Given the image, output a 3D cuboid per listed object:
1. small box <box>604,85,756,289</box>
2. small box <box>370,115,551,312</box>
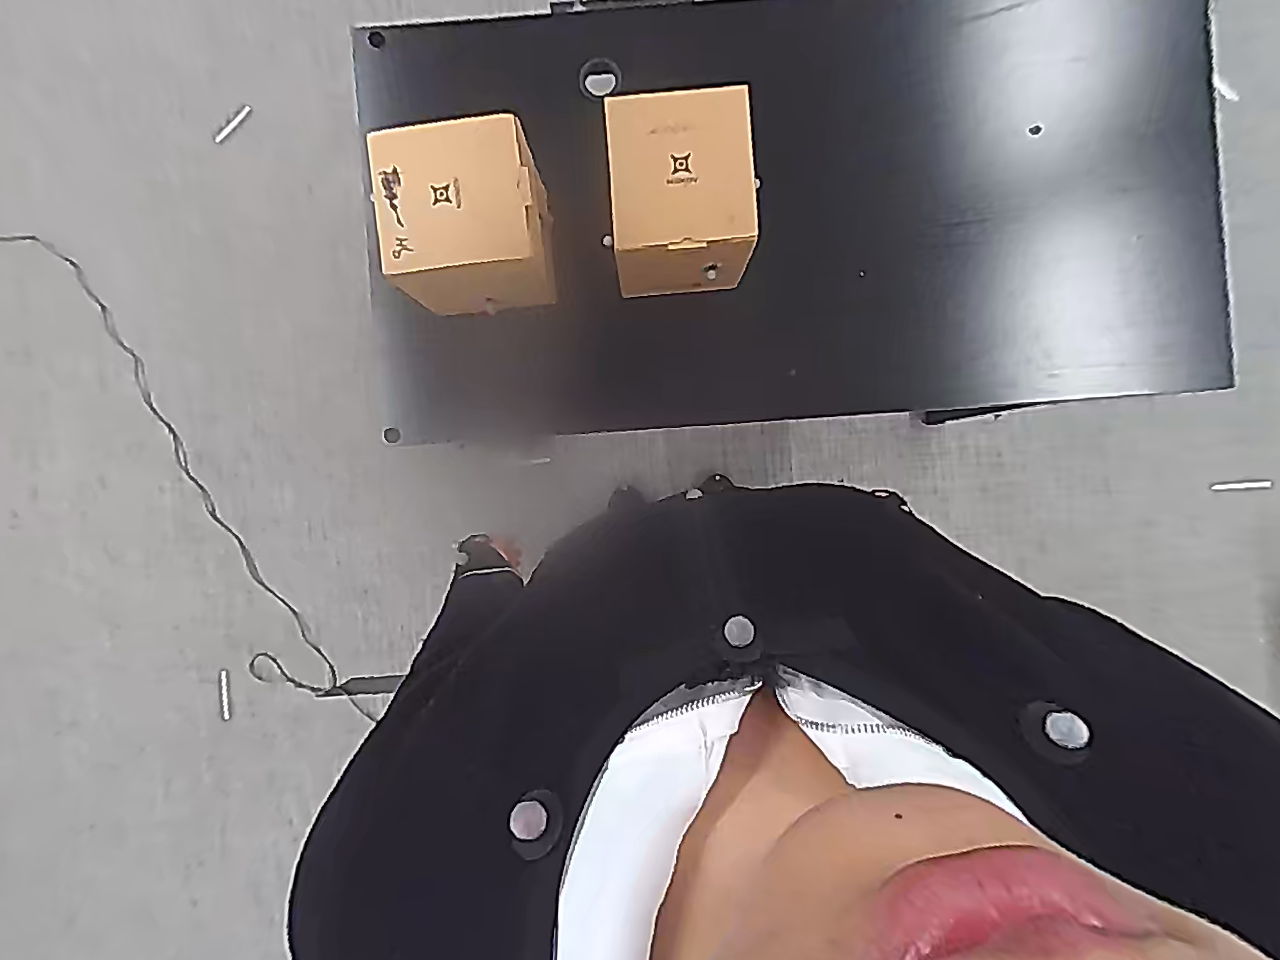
[{"bbox_3d":[0.046,-0.356,0.693,0.168,0.176,0.179,-5,90,0],"label":"small box"},{"bbox_3d":[-0.214,-0.328,0.695,0.179,0.176,0.168,-7,90,0],"label":"small box"}]
